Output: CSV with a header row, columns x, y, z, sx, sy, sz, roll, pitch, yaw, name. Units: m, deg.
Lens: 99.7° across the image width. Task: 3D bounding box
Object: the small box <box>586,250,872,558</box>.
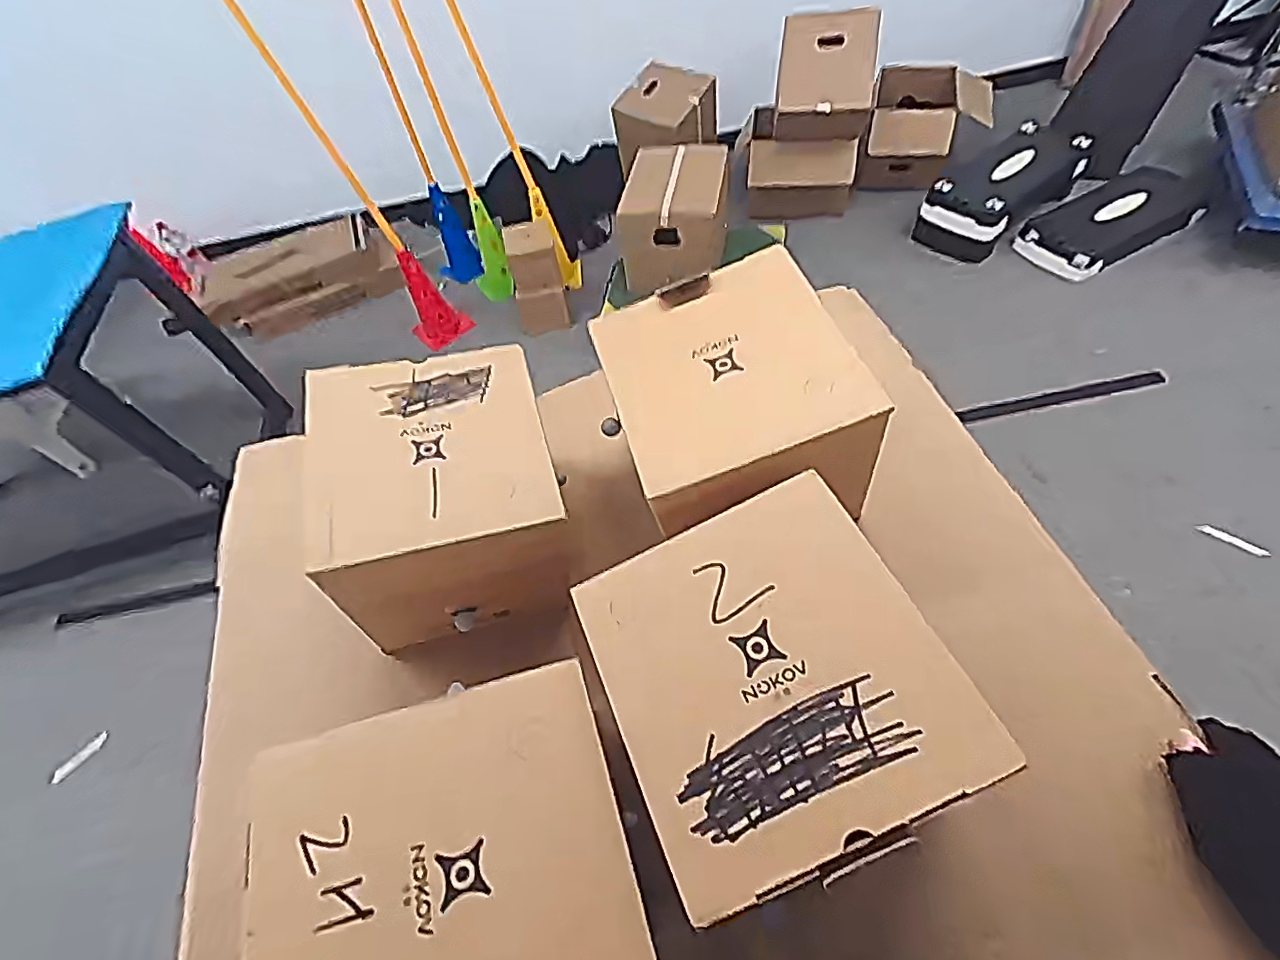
x,y,z,sx,sy,sz,roll,pitch,yaw,name
0.072,-0.050,0.462,0.168,0.176,0.179,-21,57,3,small box
